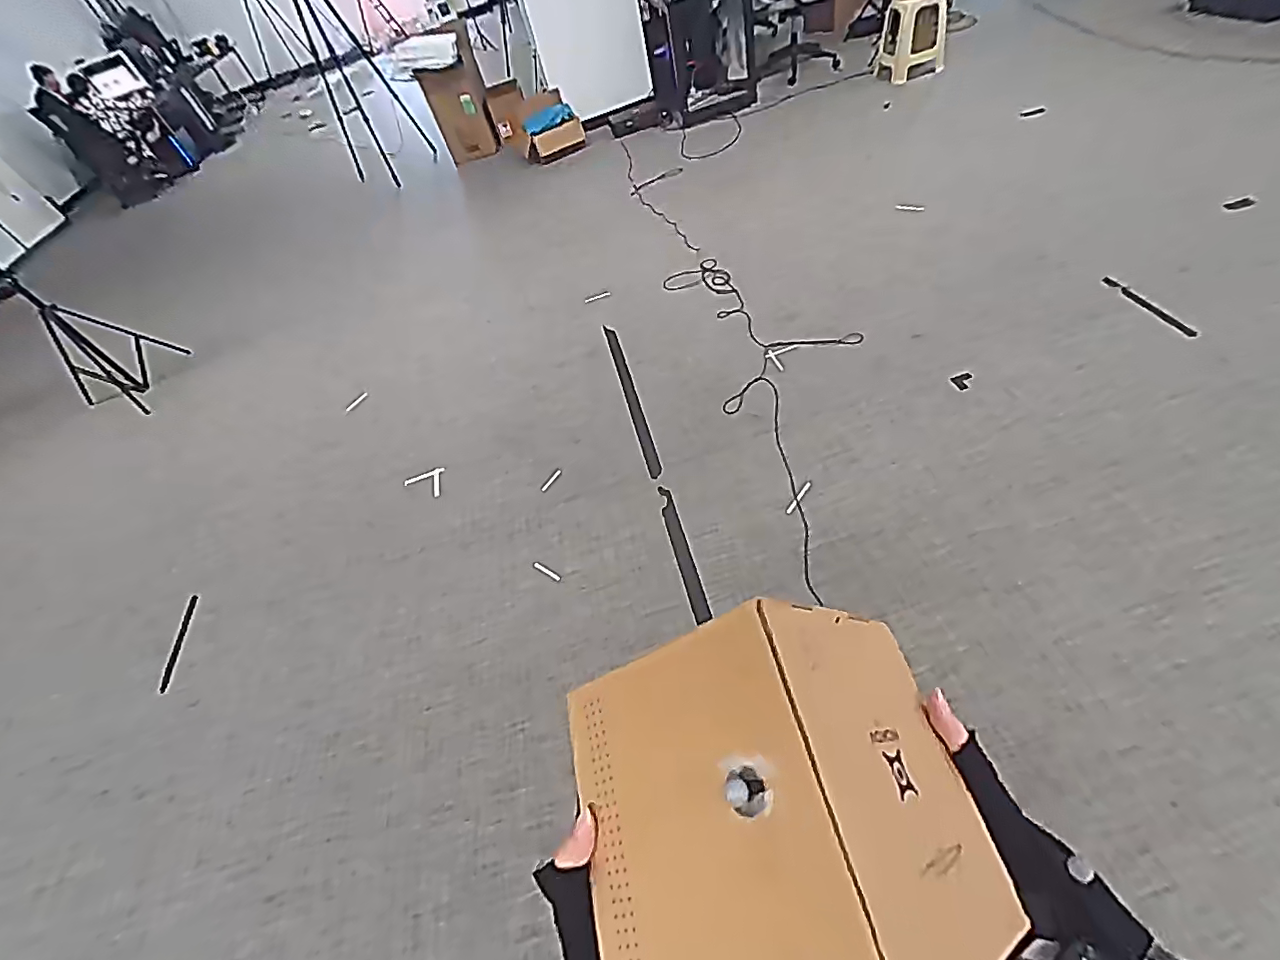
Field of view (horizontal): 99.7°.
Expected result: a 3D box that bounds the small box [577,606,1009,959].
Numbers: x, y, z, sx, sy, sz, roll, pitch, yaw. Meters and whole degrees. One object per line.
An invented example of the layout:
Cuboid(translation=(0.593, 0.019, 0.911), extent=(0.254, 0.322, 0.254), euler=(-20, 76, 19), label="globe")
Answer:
Cuboid(translation=(0.078, 0.202, 0.339), extent=(0.176, 0.168, 0.179), euler=(-38, 50, 31), label="small box")
